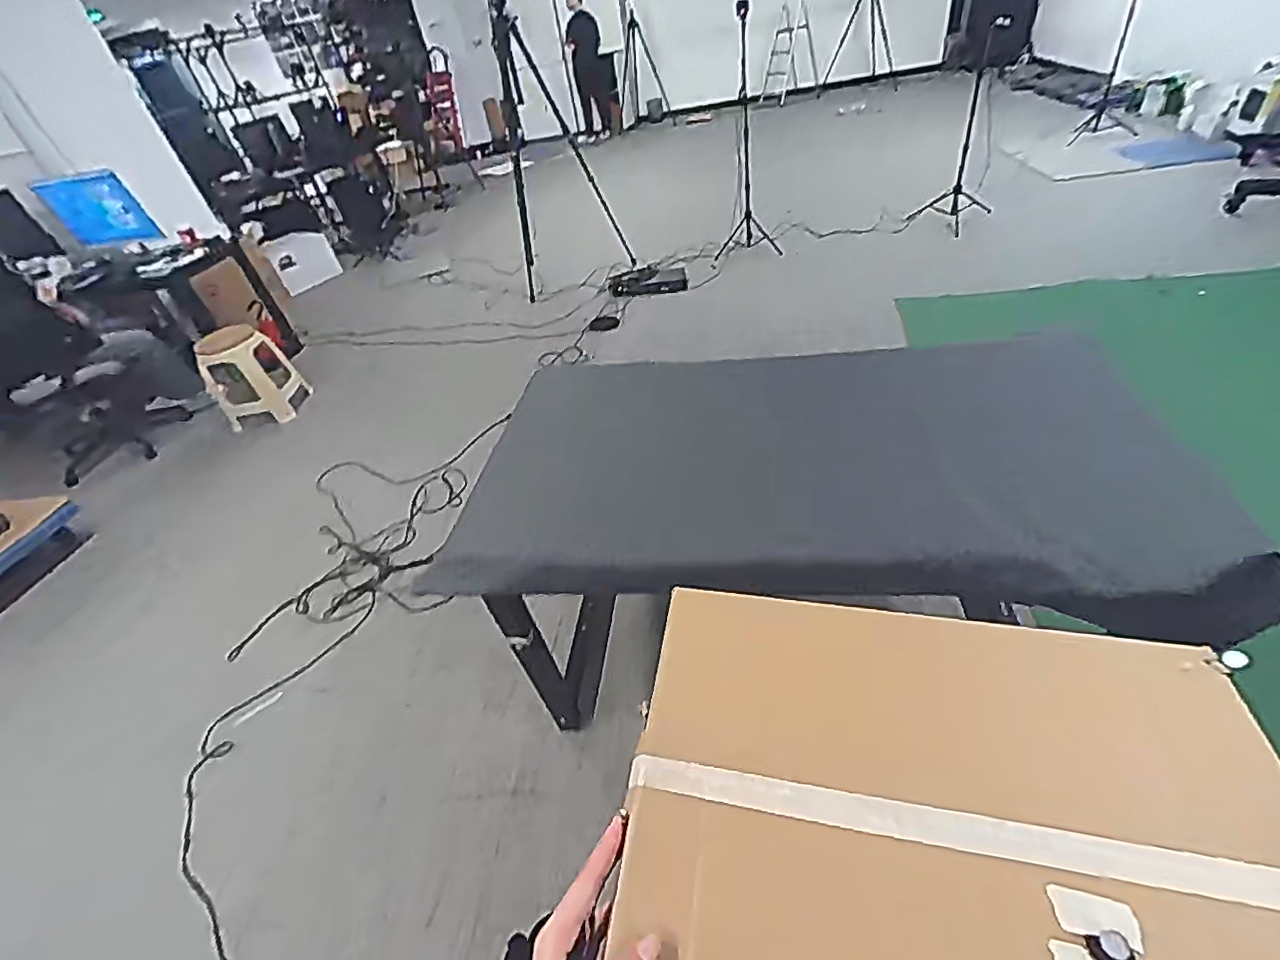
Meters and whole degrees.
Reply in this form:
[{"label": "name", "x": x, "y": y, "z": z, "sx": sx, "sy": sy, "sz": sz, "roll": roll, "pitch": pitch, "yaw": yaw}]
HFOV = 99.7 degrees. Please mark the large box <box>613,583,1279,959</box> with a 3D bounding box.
[{"label": "large box", "x": 0.211, "y": 0.319, "z": 0.460, "sx": 0.408, "sy": 0.320, "sz": 0.320, "roll": 5, "pitch": 46, "yaw": 12}]
